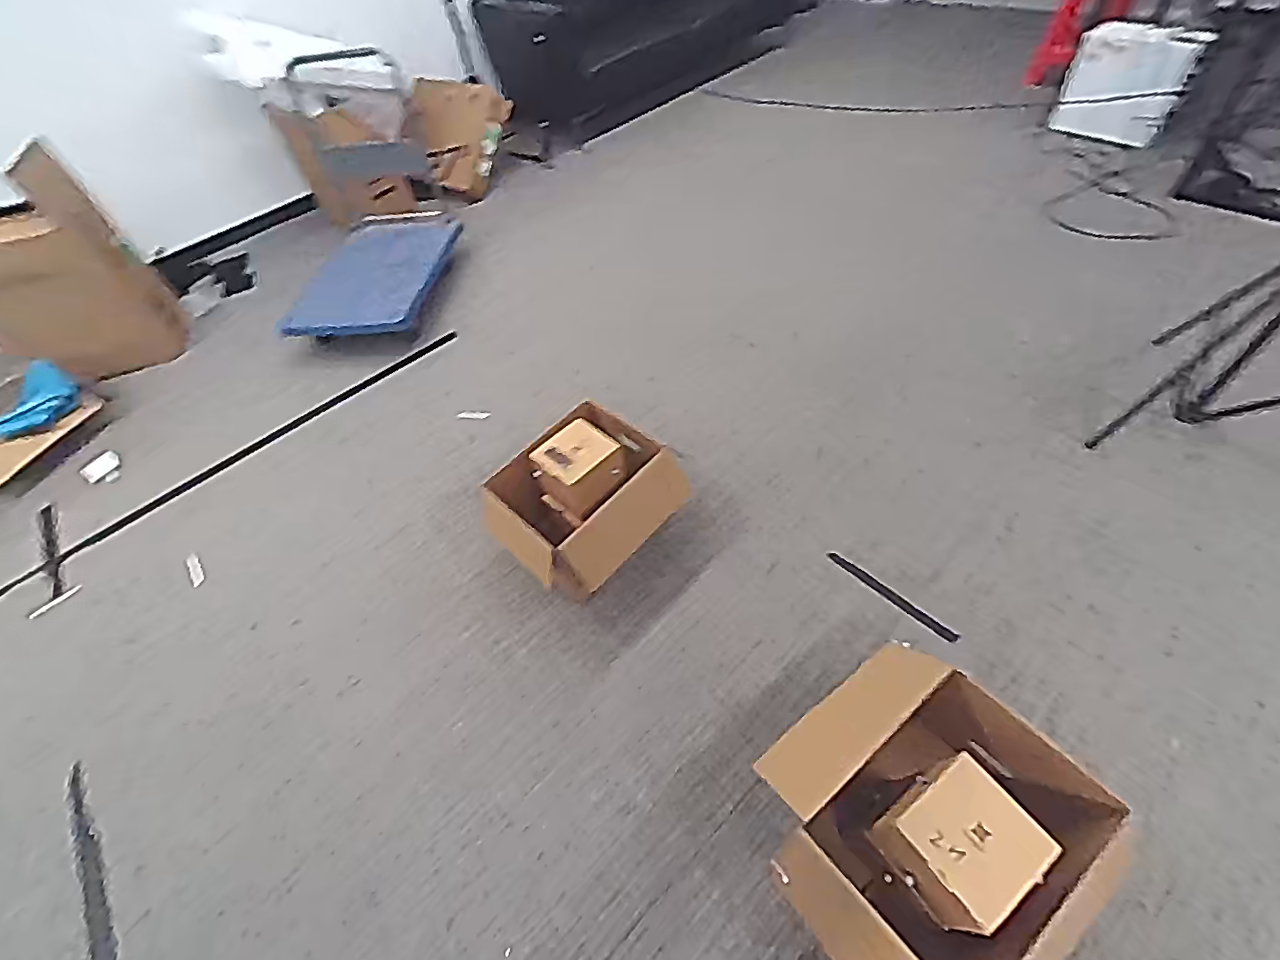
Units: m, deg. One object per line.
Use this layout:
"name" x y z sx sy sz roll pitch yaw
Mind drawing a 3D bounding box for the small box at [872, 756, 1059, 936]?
"small box" 0.514 0.590 0.883 0.179 0.176 0.168 -31 57 -17
